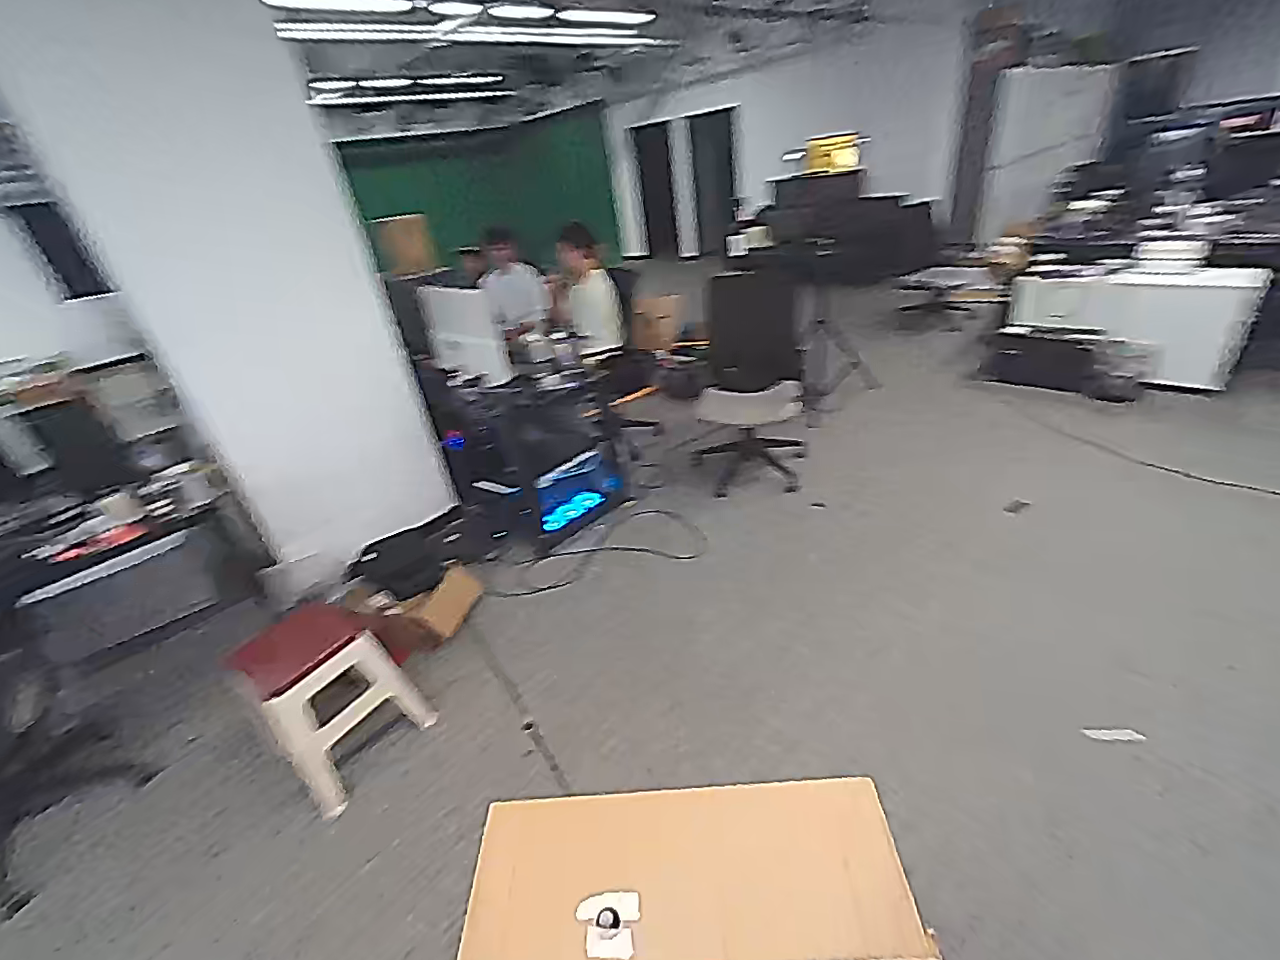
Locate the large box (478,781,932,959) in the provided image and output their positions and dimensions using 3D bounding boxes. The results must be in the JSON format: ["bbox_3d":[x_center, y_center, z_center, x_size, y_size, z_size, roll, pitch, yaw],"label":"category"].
[{"bbox_3d":[0.071,0.545,0.543,0.408,0.320,0.320,-7,36,6],"label":"large box"}]
